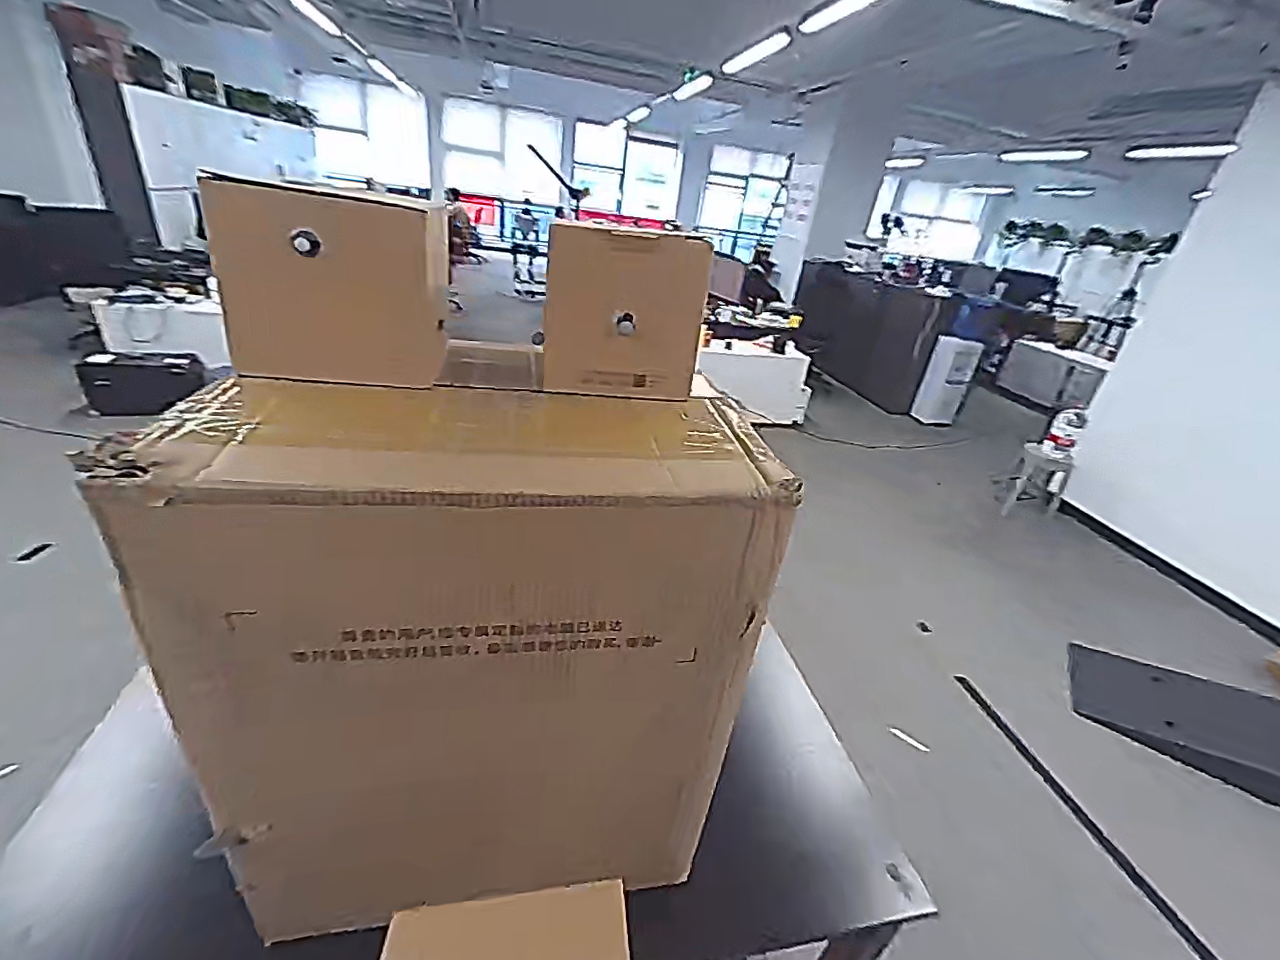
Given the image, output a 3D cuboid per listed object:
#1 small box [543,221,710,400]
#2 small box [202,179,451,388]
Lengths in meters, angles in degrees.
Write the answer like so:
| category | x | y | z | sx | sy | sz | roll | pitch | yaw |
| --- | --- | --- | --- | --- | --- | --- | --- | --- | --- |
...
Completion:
| category | x | y | z | sx | sy | sz | roll | pitch | yaw |
| --- | --- | --- | --- | --- | --- | --- | --- | --- | --- |
| small box | -0.026 | -0.199 | 0.629 | 0.168 | 0.176 | 0.179 | 2 | 27 | -9 |
| small box | -0.297 | -0.200 | 0.559 | 0.179 | 0.176 | 0.168 | 2 | 27 | -14 |
